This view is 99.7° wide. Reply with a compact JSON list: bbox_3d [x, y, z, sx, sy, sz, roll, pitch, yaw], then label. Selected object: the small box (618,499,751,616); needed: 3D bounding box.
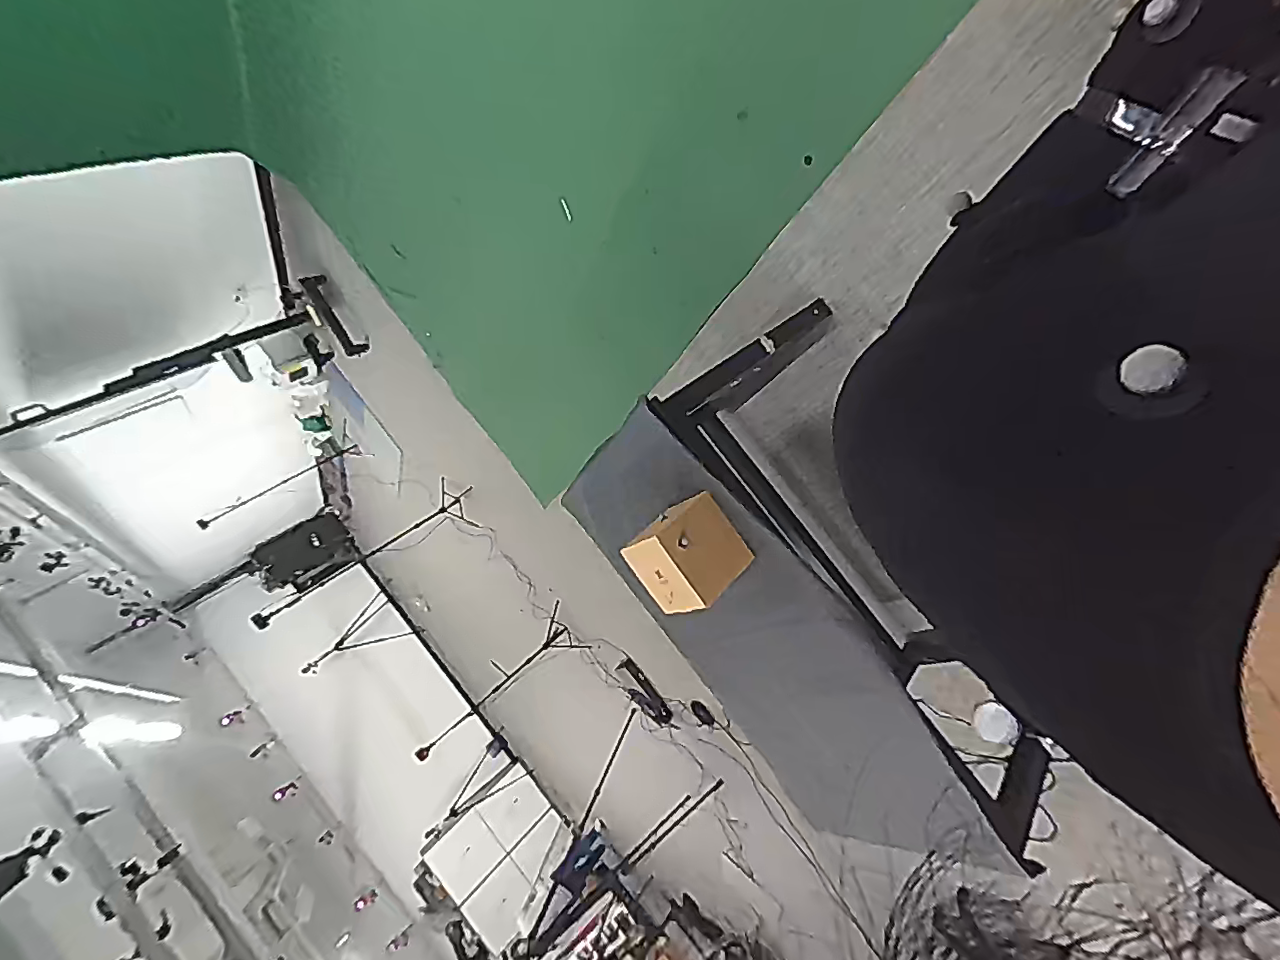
[{"bbox_3d":[0.094,0.157,1.130,0.179,0.176,0.168,53,147,-3],"label":"small box"}]
